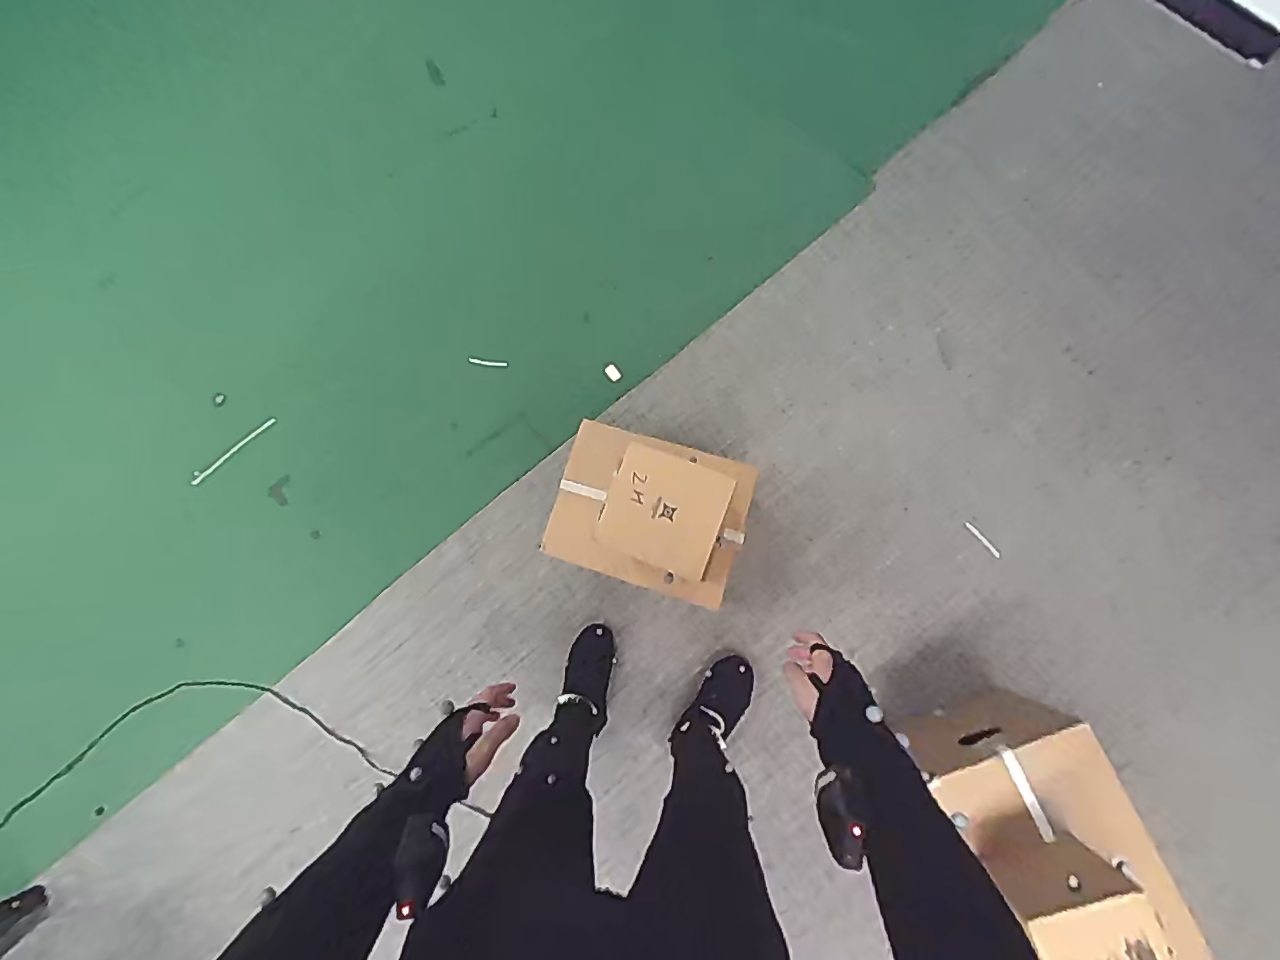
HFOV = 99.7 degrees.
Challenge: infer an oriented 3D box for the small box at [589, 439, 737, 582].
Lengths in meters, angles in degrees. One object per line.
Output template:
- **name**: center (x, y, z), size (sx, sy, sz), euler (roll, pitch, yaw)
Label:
- **small box**: center (0.043, 0.053, 0.875), size (0.179, 0.176, 0.168), euler (21, 84, 10)

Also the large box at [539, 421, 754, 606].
- **large box**: center (0.033, 0.087, 1.291), size (0.408, 0.320, 0.320), euler (16, 82, 11)

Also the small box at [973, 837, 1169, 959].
- **small box**: center (0.677, 0.706, 0.855), size (0.179, 0.176, 0.168), euler (-20, 79, 6)
